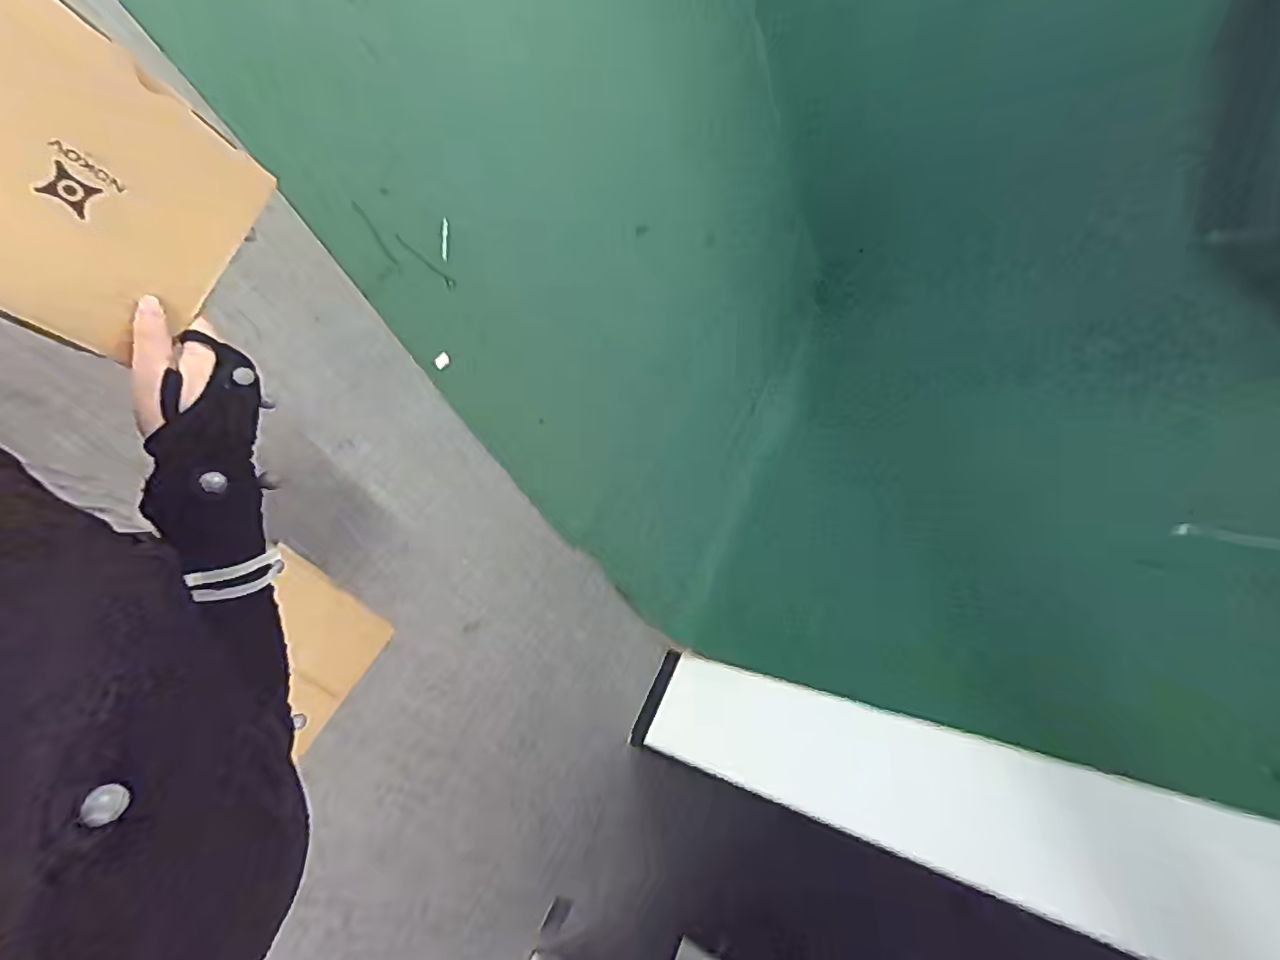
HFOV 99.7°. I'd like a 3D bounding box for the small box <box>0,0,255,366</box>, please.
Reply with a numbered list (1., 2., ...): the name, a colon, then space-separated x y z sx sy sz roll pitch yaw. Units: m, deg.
1. small box: -0.417 -0.201 0.359 0.168 0.176 0.179 41 67 -59
